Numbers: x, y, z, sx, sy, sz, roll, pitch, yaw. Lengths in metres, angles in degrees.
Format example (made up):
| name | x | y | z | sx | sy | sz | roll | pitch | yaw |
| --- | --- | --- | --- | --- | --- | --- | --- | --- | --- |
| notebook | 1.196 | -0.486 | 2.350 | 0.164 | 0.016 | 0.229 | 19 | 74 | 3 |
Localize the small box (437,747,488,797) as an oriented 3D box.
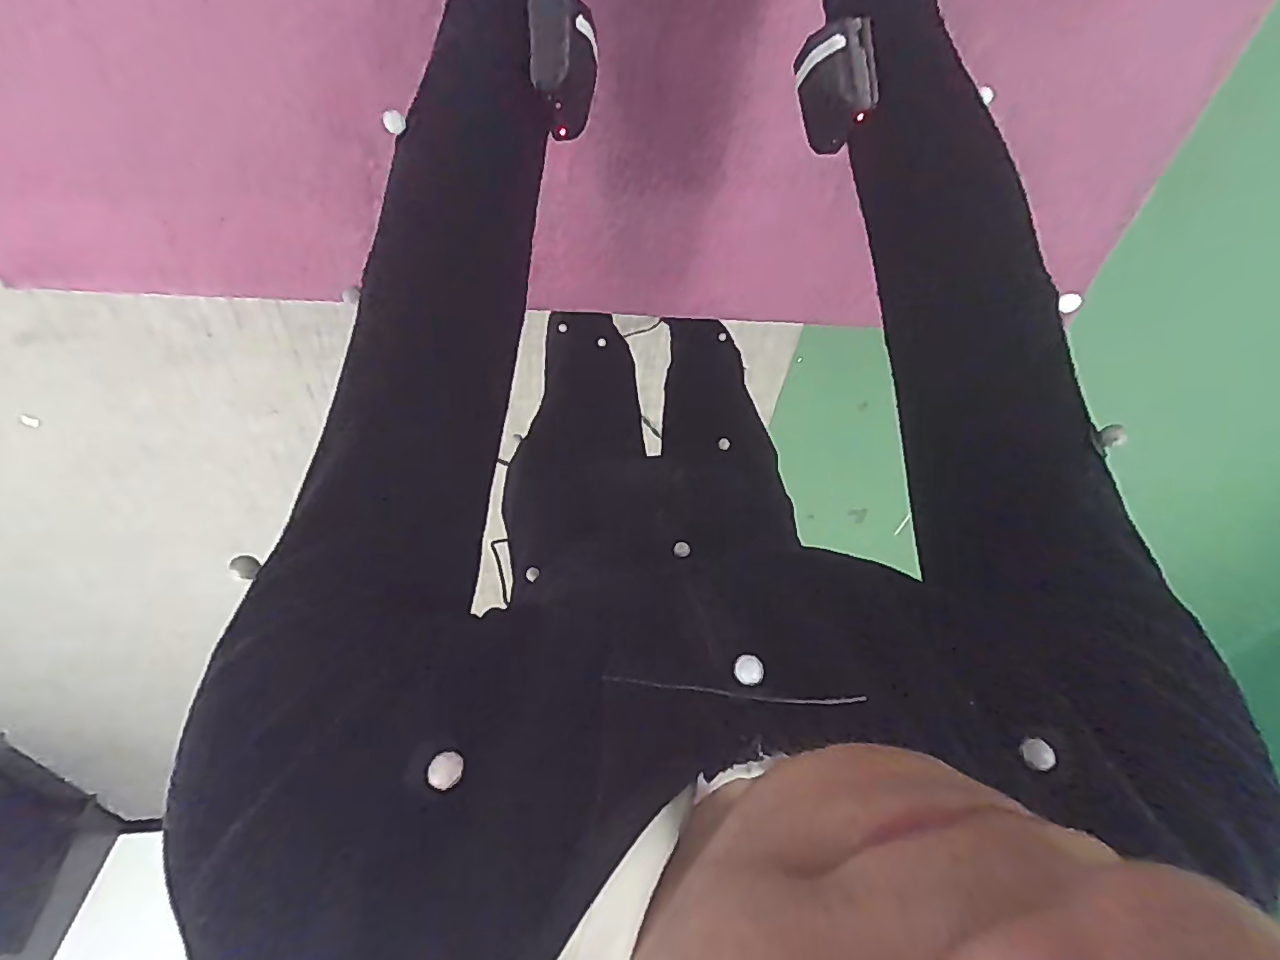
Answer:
| name | x | y | z | sx | sy | sz | roll | pitch | yaw |
| --- | --- | --- | --- | --- | --- | --- | --- | --- | --- |
| small box | -0.695 | 1.176 | 2.134 | 0.168 | 0.176 | 0.179 | 5 | 130 | -10 |
